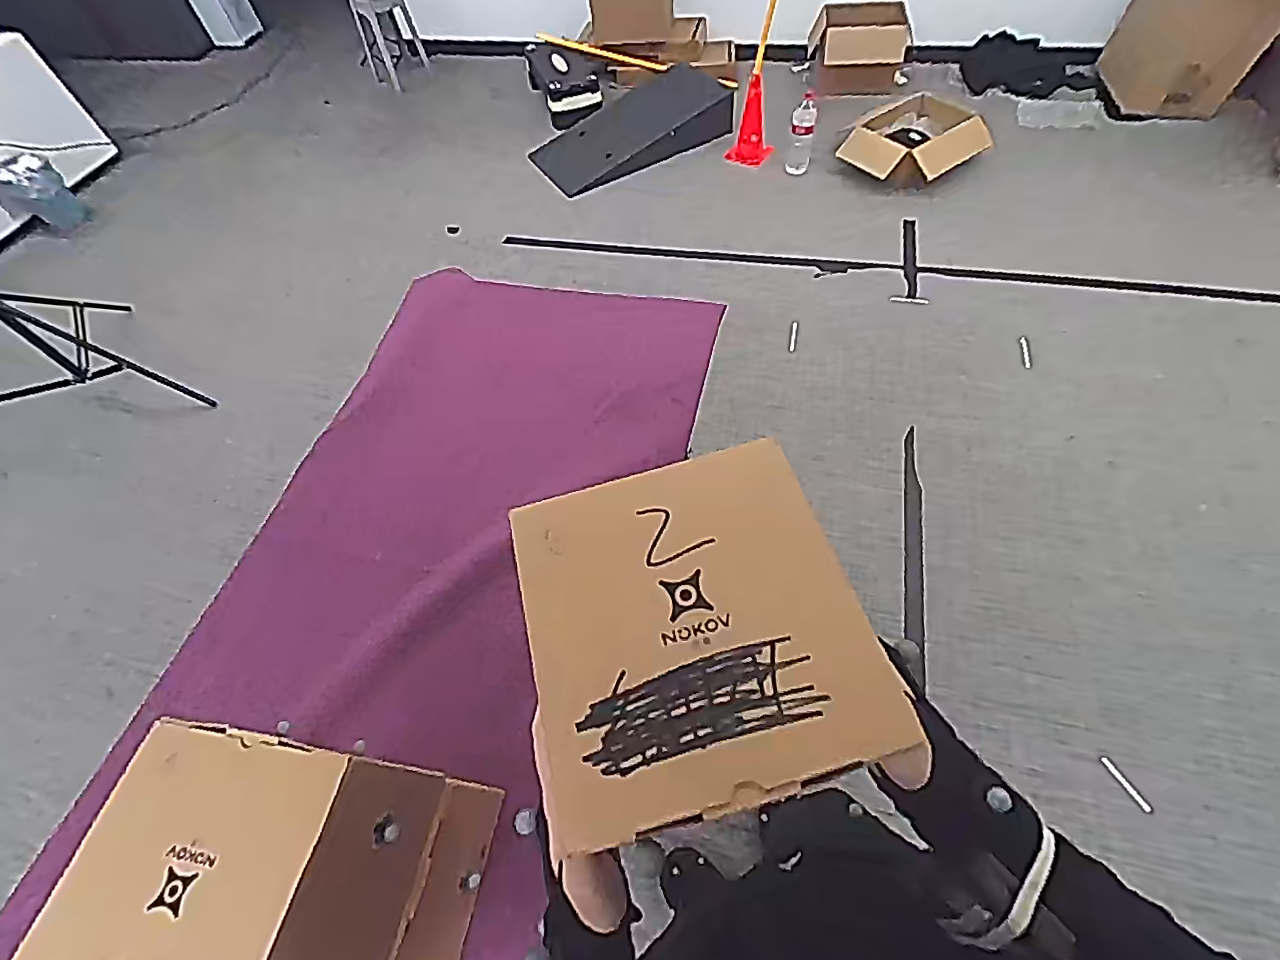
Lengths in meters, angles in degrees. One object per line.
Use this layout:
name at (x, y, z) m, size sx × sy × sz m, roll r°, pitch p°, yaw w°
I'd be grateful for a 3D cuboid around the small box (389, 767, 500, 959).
small box at (-0.269, 0.386, 0.553) m, size 0.179 × 0.176 × 0.168 m, roll 7°, pitch 59°, yaw 9°

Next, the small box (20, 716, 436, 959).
small box at (-0.283, 0.300, 0.416) m, size 0.168 × 0.176 × 0.179 m, roll 5°, pitch 59°, yaw 10°
